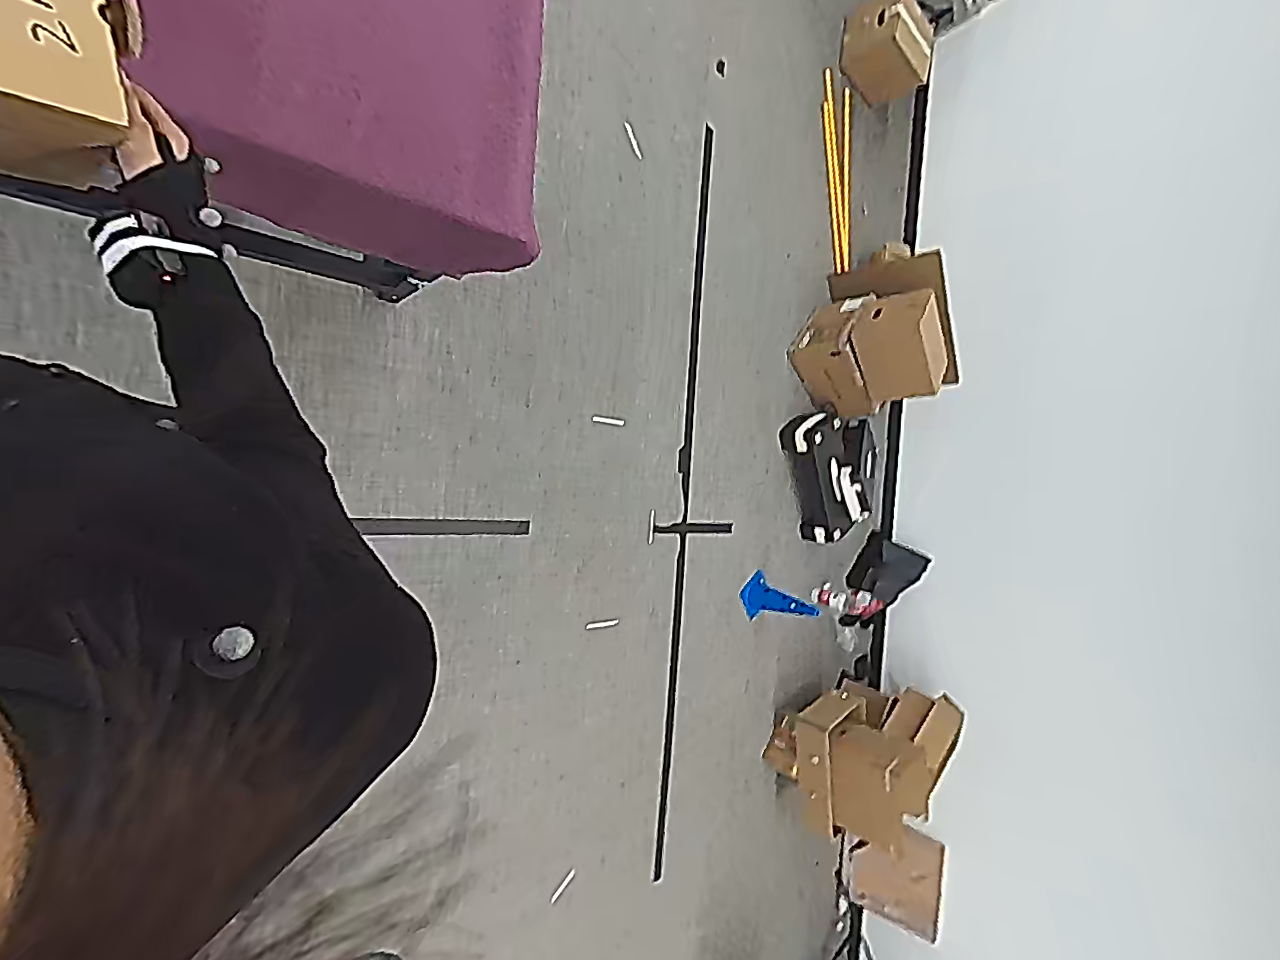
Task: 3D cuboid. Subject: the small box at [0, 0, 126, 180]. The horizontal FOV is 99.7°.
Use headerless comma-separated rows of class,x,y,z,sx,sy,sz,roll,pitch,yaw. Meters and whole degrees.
small box,-0.525,-0.347,0.394,0.179,0.176,0.168,-14,103,-54
